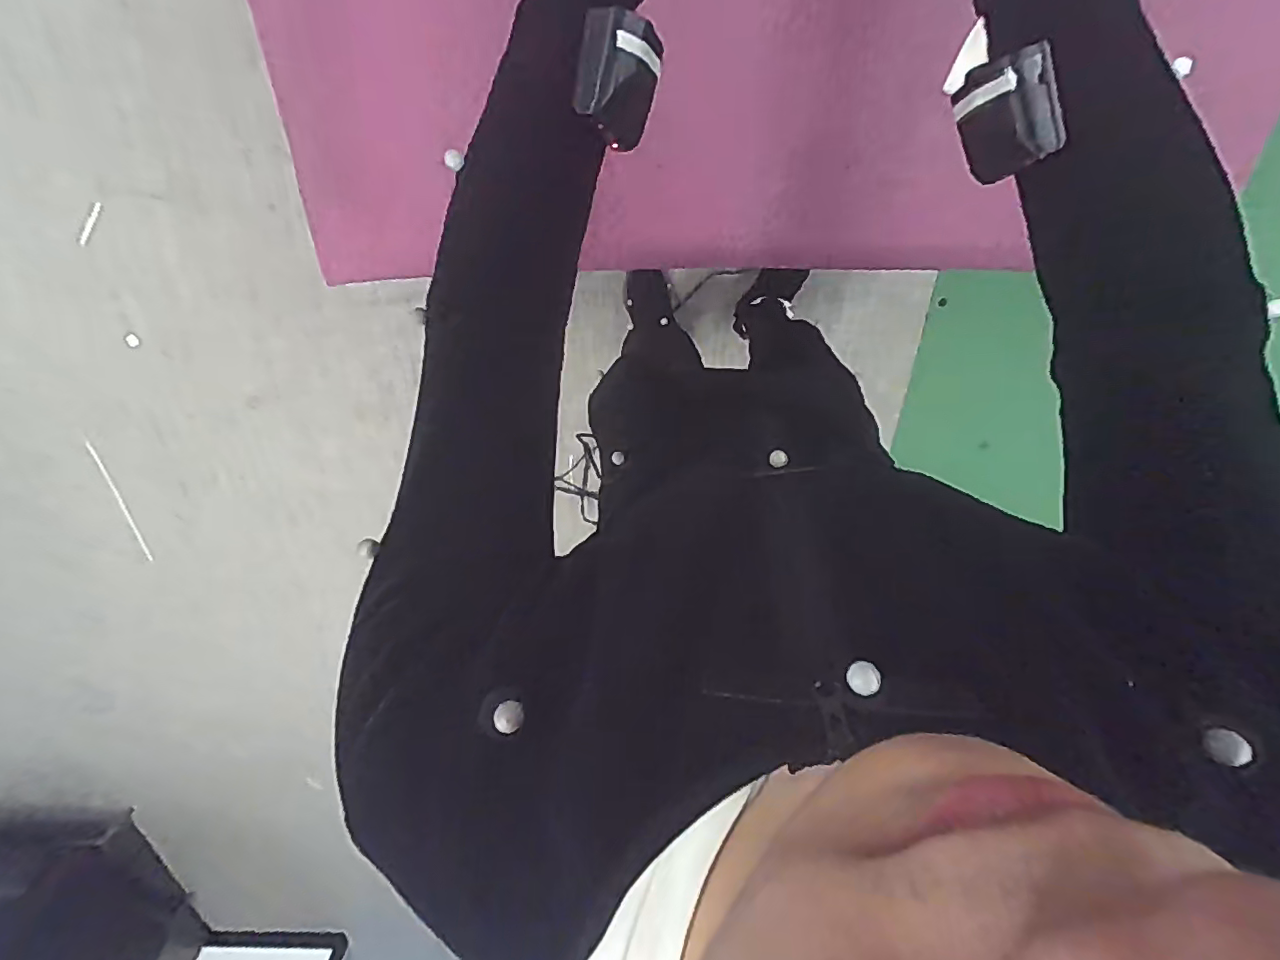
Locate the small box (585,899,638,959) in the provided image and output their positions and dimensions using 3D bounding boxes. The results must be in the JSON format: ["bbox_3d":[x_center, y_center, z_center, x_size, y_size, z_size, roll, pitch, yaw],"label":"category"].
[{"bbox_3d":[-0.095,1.560,1.824,0.168,0.176,0.179,3,116,0],"label":"small box"}]
